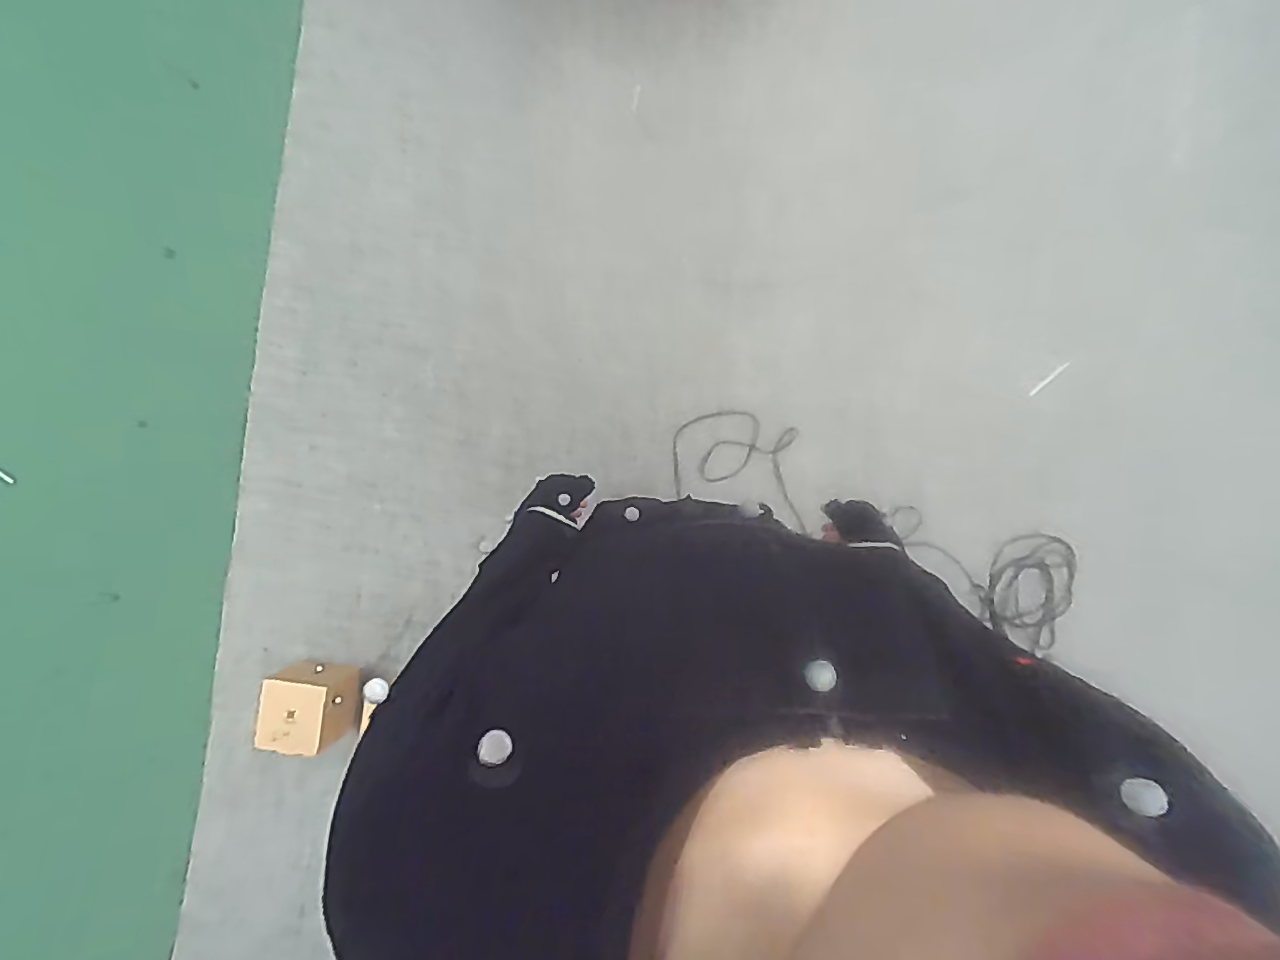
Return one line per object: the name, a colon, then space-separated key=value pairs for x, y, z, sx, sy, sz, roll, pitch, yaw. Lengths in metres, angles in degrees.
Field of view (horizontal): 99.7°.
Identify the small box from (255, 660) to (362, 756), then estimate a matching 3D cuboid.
small box: x=-0.857 y=0.586 z=1.414 sx=0.168 sy=0.176 sz=0.179 roll=7 pitch=88 yaw=3
